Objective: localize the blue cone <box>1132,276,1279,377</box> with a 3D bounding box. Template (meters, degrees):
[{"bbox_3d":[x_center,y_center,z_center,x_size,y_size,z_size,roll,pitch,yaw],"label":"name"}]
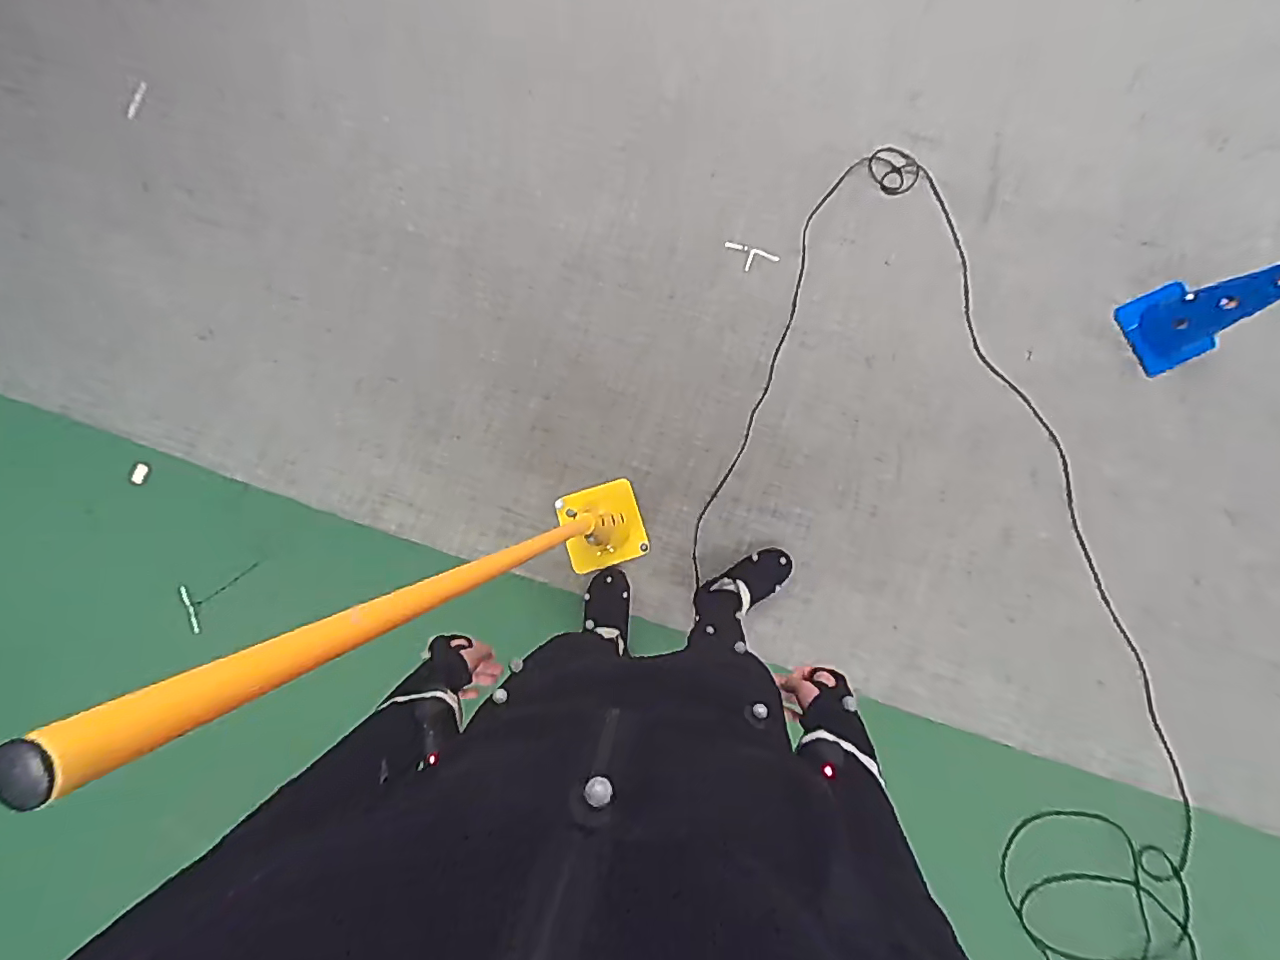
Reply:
[{"bbox_3d":[1.337,-0.392,1.180,0.193,0.380,0.192,-26,84,-3],"label":"blue cone"}]
